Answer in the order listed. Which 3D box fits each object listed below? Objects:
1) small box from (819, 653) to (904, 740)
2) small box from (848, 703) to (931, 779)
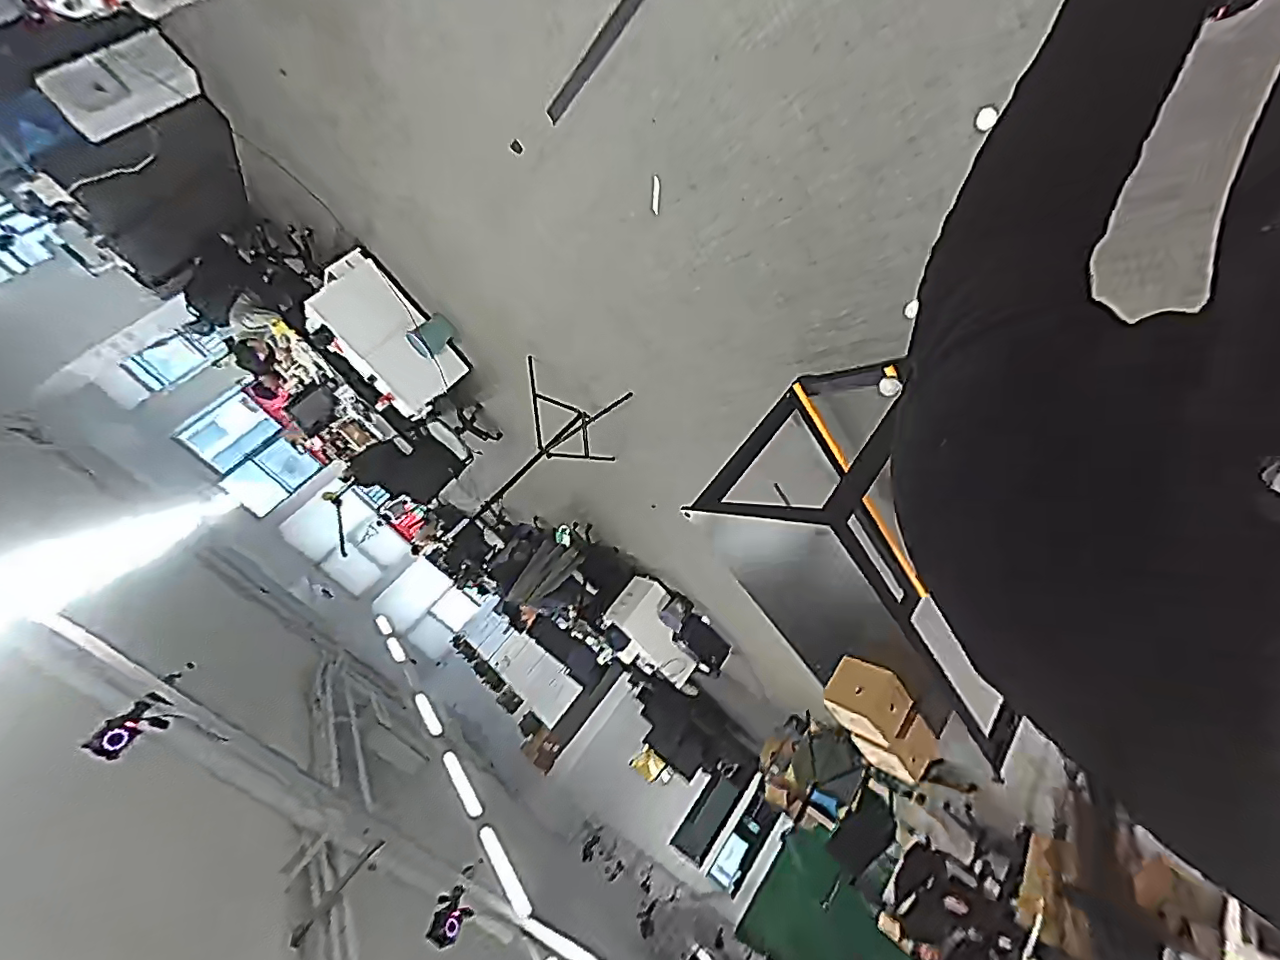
[{"bbox_3d":[0.710,0.679,1.716,0.168,0.176,0.179,51,156,-23],"label":"small box"},{"bbox_3d":[0.840,0.847,1.810,0.179,0.176,0.168,52,156,-22],"label":"small box"}]
